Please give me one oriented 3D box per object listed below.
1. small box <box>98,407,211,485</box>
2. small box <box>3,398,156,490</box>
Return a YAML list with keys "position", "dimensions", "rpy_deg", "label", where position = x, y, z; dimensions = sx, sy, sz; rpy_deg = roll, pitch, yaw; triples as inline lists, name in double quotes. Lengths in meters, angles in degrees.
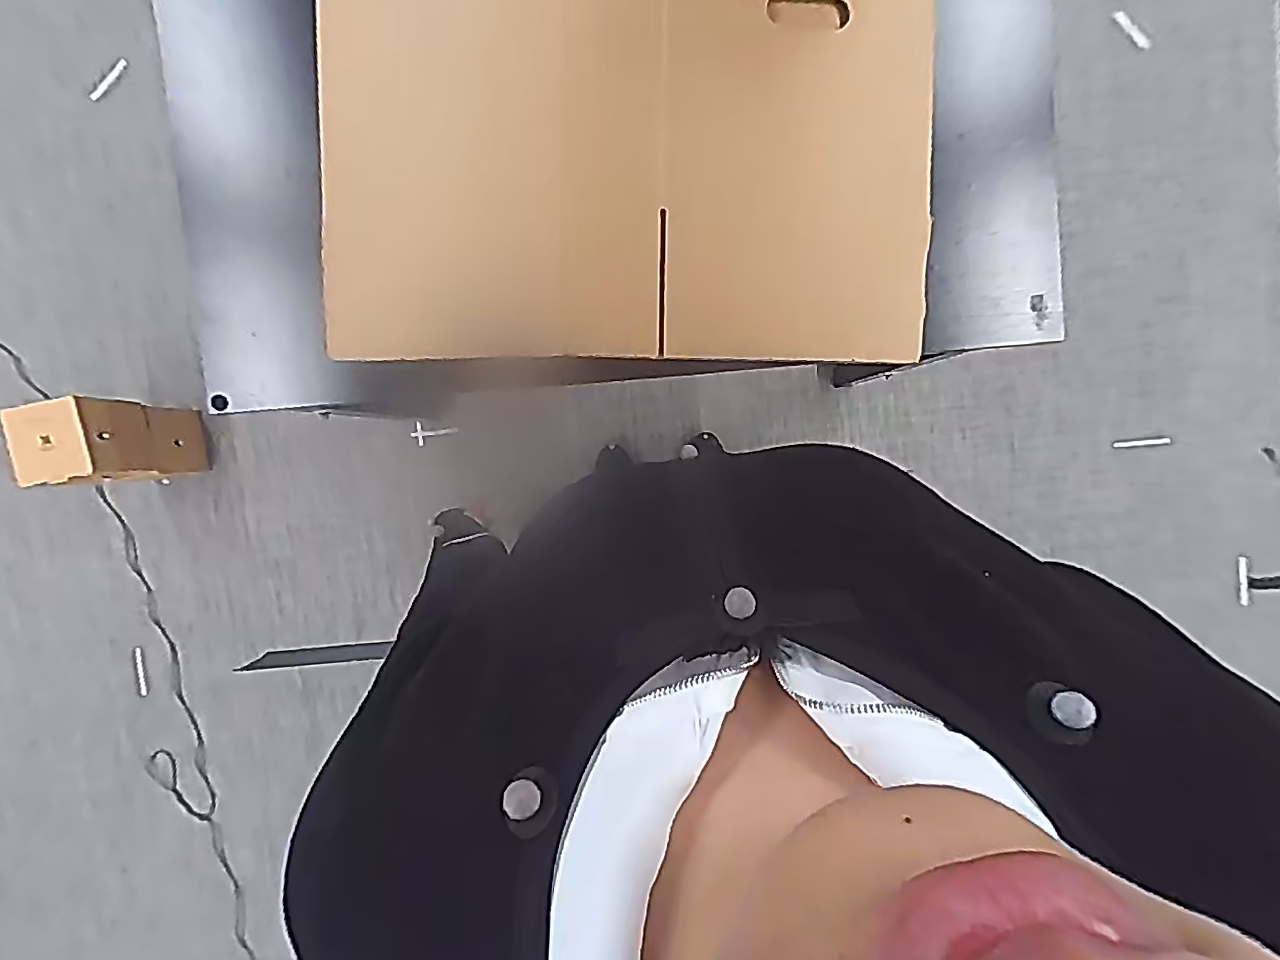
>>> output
- position: [-1.276, -0.087, 1.411]
  dimensions: [0.168, 0.176, 0.179]
  rpy_deg: [-9, 94, 1]
  label: "small box"
- position: [-1.278, -0.083, 1.249]
  dimensions: [0.168, 0.176, 0.179]
  rpy_deg: [-12, 92, 0]
  label: "small box"
